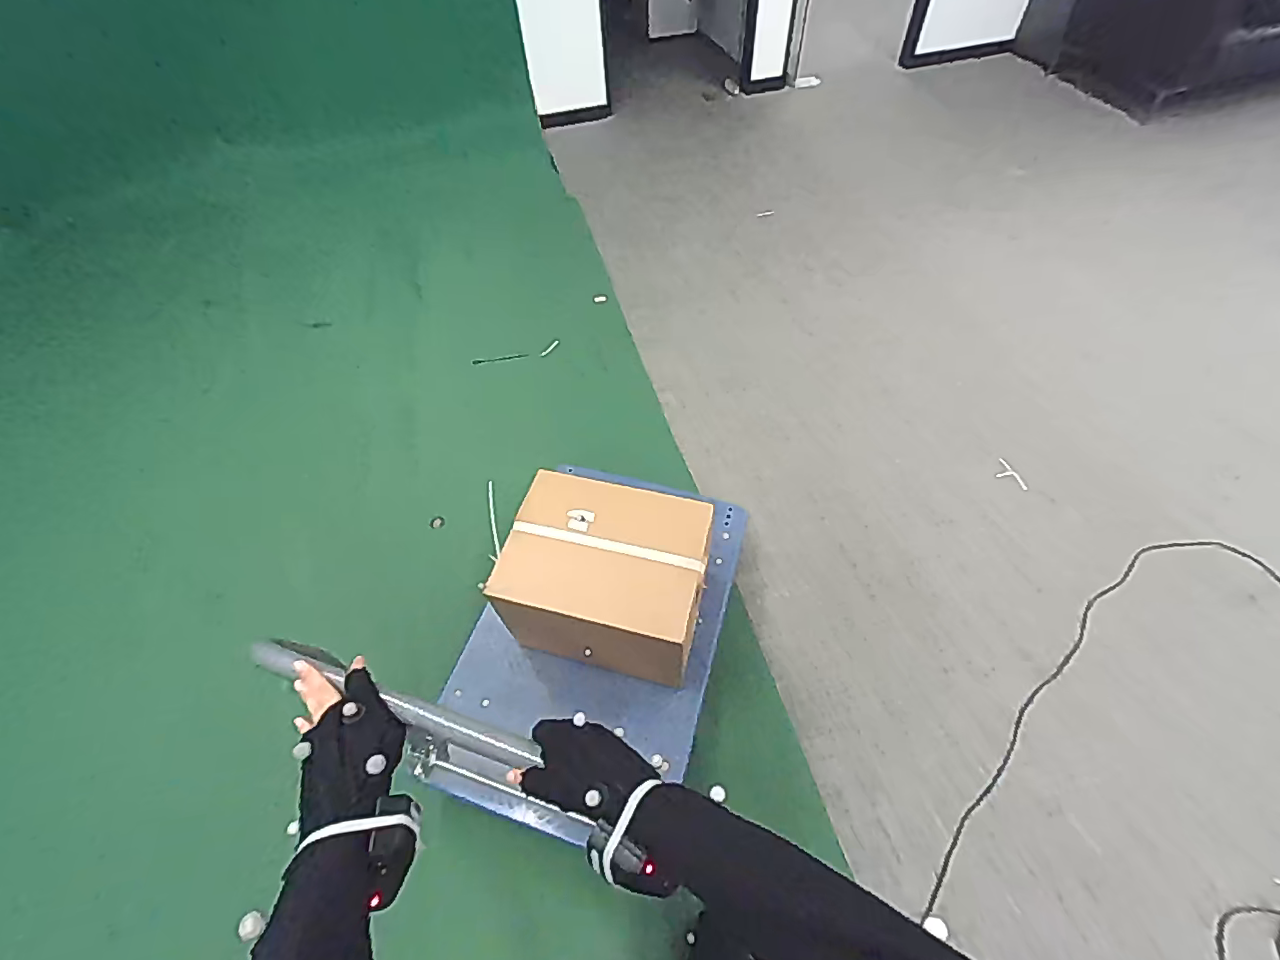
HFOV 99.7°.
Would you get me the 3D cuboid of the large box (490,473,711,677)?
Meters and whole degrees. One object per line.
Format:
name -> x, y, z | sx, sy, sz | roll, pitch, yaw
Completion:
large box -> -0.062, 0.222, 1.238 | 0.408, 0.320, 0.320 | 10, 56, 11
